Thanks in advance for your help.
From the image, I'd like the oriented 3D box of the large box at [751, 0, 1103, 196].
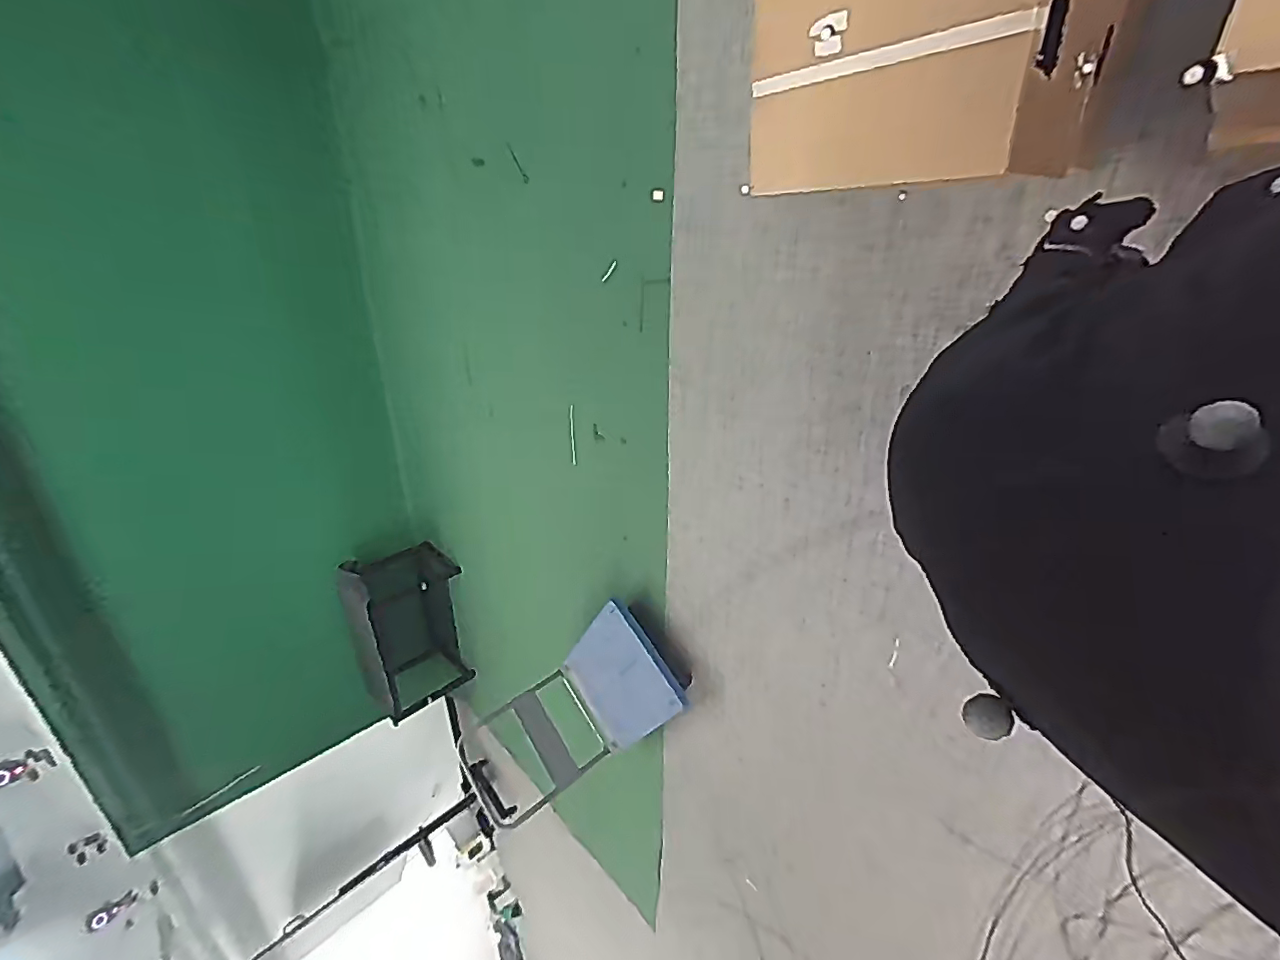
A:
[{"bbox_3d":[0.434,-0.643,0.854,0.408,0.320,0.320,23,125,43],"label":"large box"}]
